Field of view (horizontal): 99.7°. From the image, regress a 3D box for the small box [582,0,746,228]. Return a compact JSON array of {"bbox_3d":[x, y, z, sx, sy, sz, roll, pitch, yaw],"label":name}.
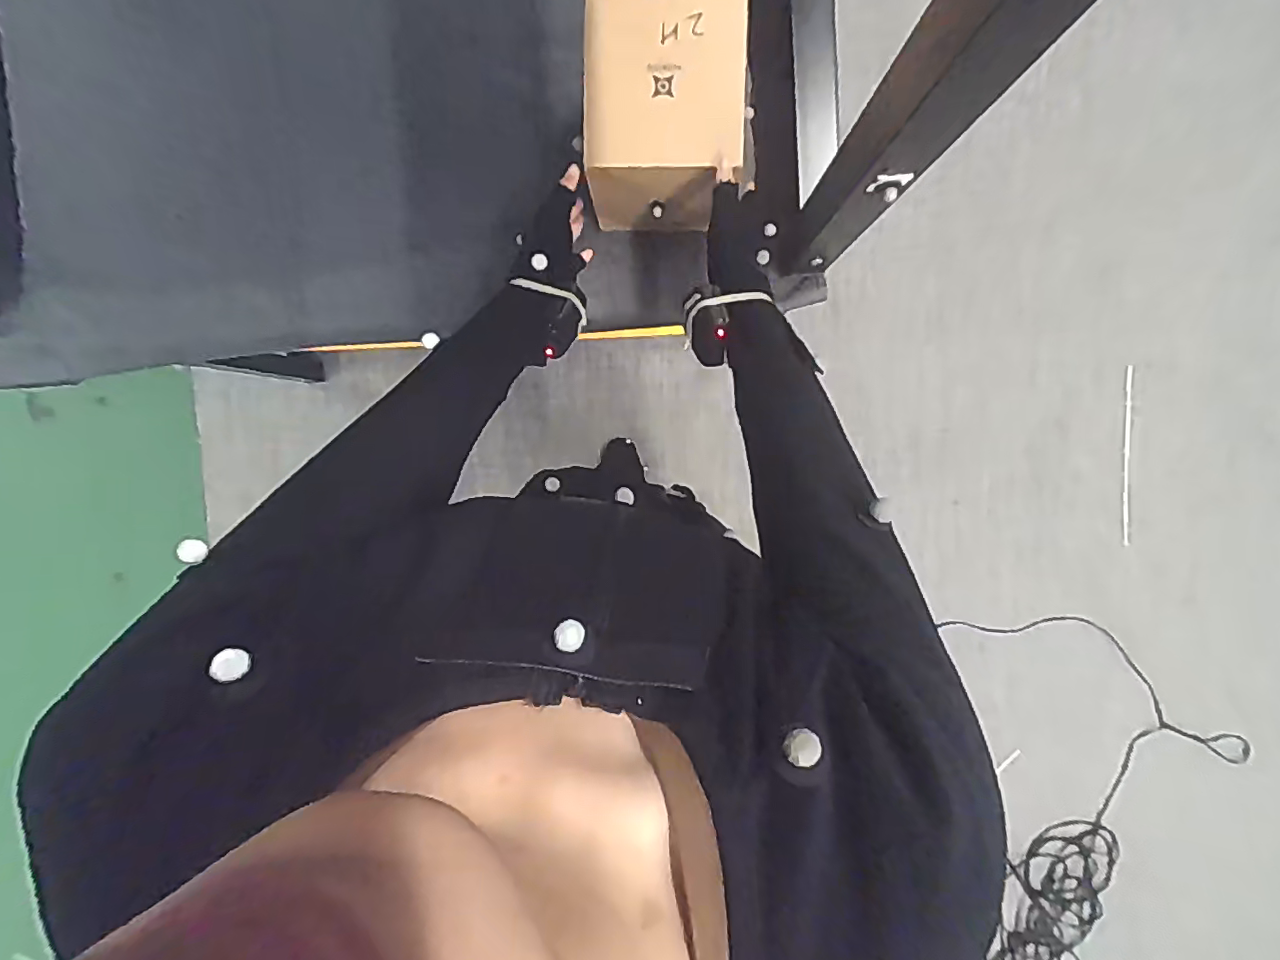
[{"bbox_3d":[0.027,-0.411,0.630,0.168,0.176,0.179,1,94,2],"label":"small box"}]
